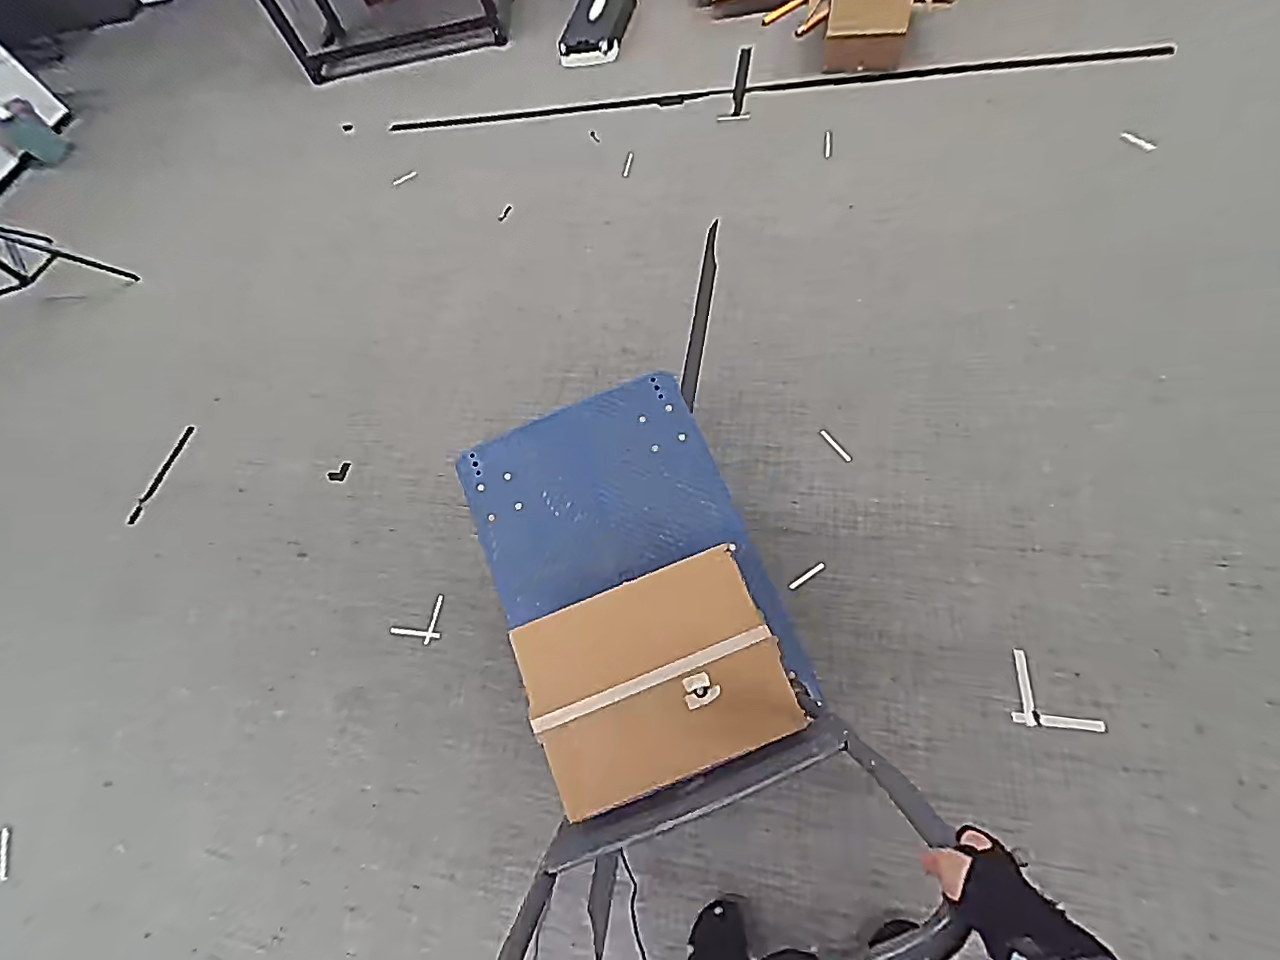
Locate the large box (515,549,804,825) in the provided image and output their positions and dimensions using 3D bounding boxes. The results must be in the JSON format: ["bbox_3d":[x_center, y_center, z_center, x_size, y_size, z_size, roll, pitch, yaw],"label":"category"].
[{"bbox_3d":[0.033,0.366,1.027,0.408,0.320,0.320,-22,76,-1],"label":"large box"}]
